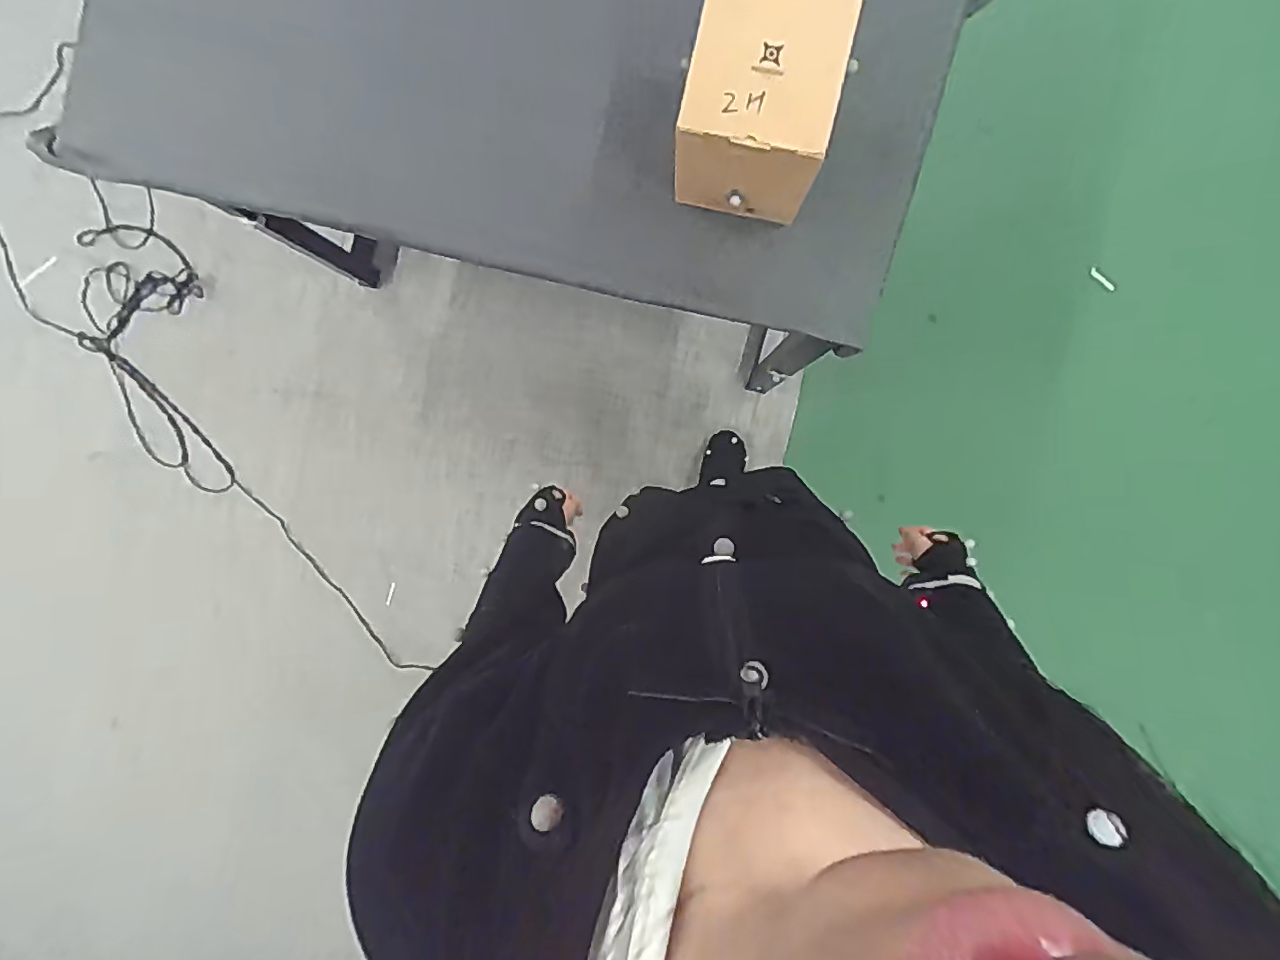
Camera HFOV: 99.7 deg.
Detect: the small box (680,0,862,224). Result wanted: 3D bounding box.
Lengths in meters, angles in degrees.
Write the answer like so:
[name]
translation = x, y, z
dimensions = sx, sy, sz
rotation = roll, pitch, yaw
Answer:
[small box]
translation = 0.146, -0.449, 0.664
dimensions = 0.168, 0.176, 0.179
rotation = 13, 93, 4
